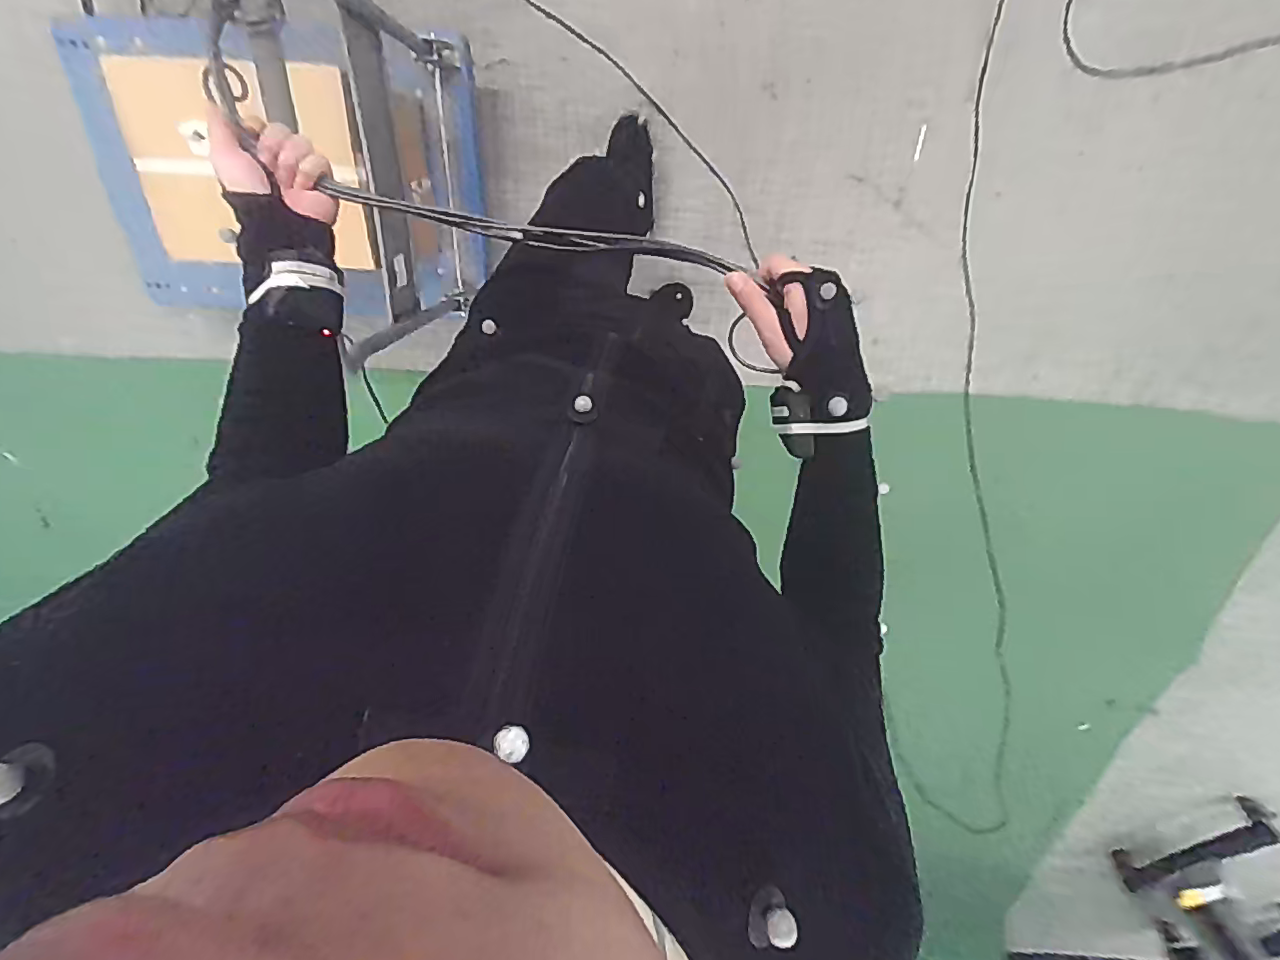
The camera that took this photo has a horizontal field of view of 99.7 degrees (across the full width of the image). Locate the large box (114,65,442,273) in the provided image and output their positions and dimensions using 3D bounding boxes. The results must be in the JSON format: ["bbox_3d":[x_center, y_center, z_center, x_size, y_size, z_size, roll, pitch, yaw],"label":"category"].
[{"bbox_3d":[-0.665,-0.602,1.080,0.408,0.320,0.320,4,116,3],"label":"large box"}]
